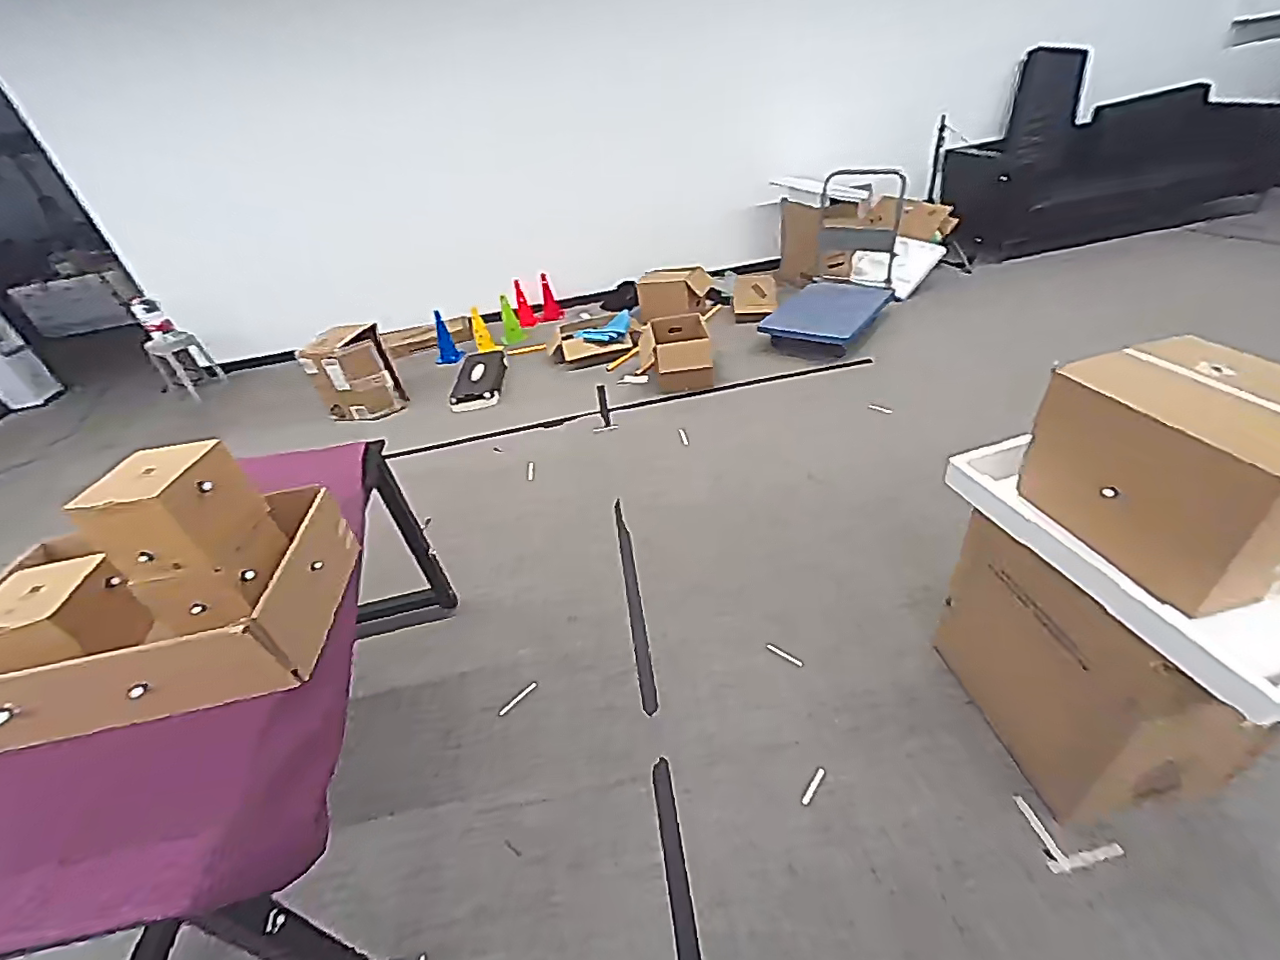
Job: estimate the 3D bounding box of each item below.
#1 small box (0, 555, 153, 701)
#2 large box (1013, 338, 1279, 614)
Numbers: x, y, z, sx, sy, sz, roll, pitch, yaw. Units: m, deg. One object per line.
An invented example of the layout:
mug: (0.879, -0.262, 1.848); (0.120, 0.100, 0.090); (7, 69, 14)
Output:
small box: (-1.064, 0.270, 0.998); (0.168, 0.176, 0.179); (-13, 36, -6)
large box: (1.020, -0.026, 1.015); (0.320, 0.320, 0.408); (-14, 35, -6)
